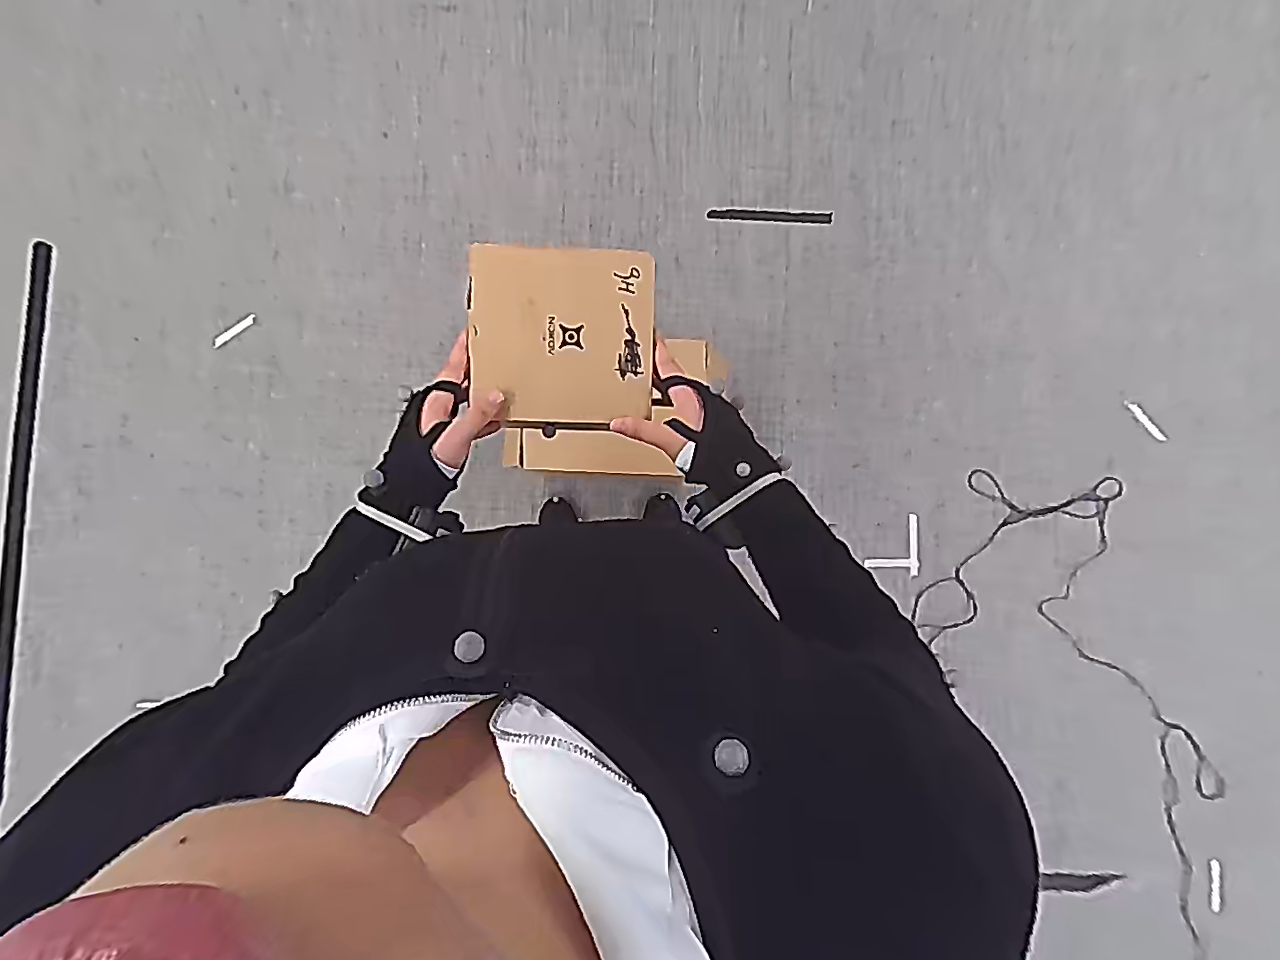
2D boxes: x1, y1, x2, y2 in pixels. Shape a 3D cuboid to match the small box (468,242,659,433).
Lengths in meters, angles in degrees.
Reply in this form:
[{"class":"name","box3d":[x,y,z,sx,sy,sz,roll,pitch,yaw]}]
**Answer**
[{"class":"small box","box3d":[-0.075,-0.137,0.581,0.179,0.176,0.168,1,92,-4]}]
